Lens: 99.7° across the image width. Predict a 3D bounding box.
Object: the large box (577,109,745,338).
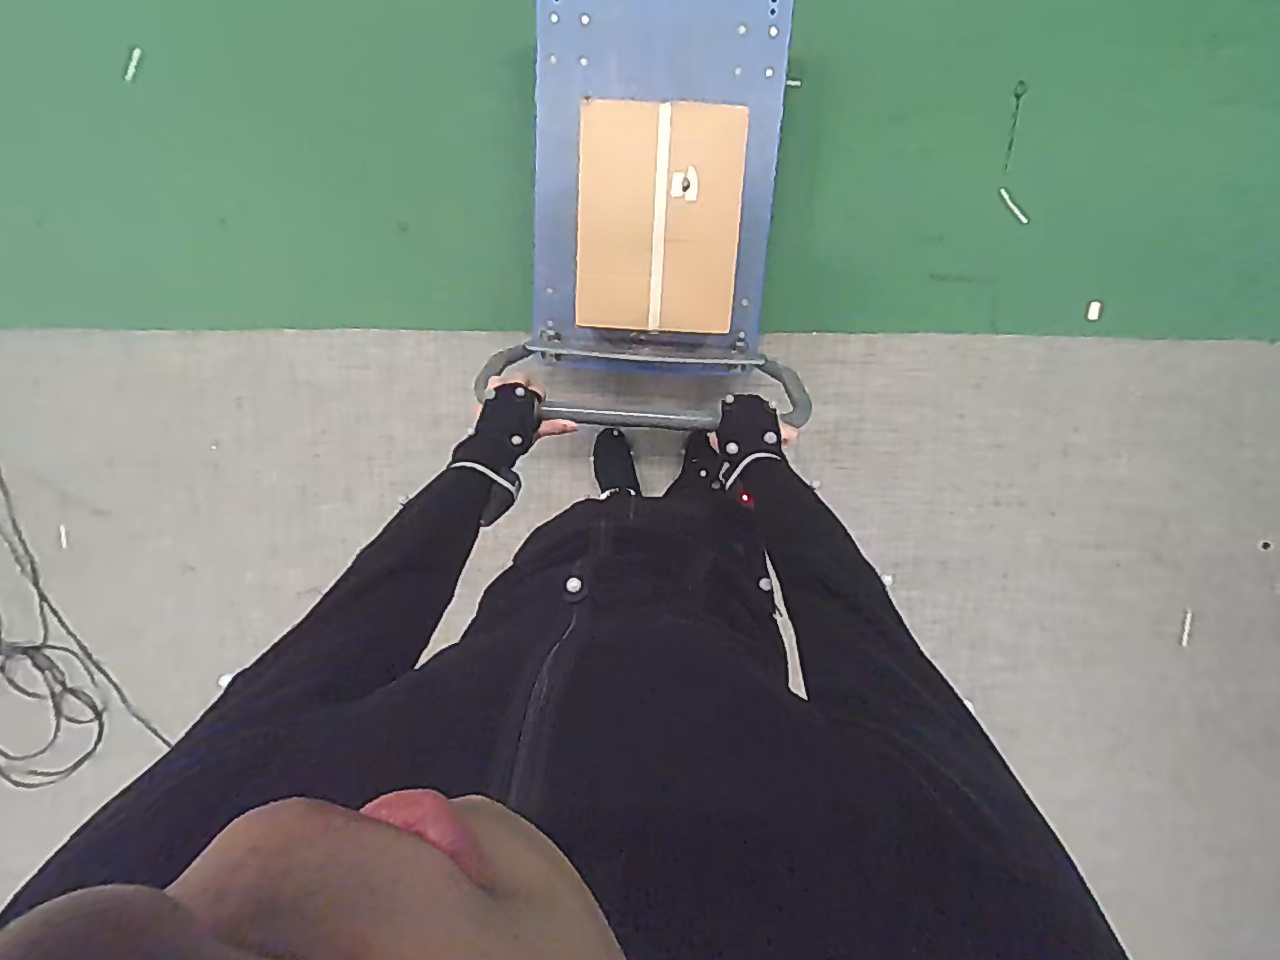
[{"bbox_3d":[0.040,-0.527,1.198,0.320,0.320,0.408,3,104,0],"label":"large box"}]
